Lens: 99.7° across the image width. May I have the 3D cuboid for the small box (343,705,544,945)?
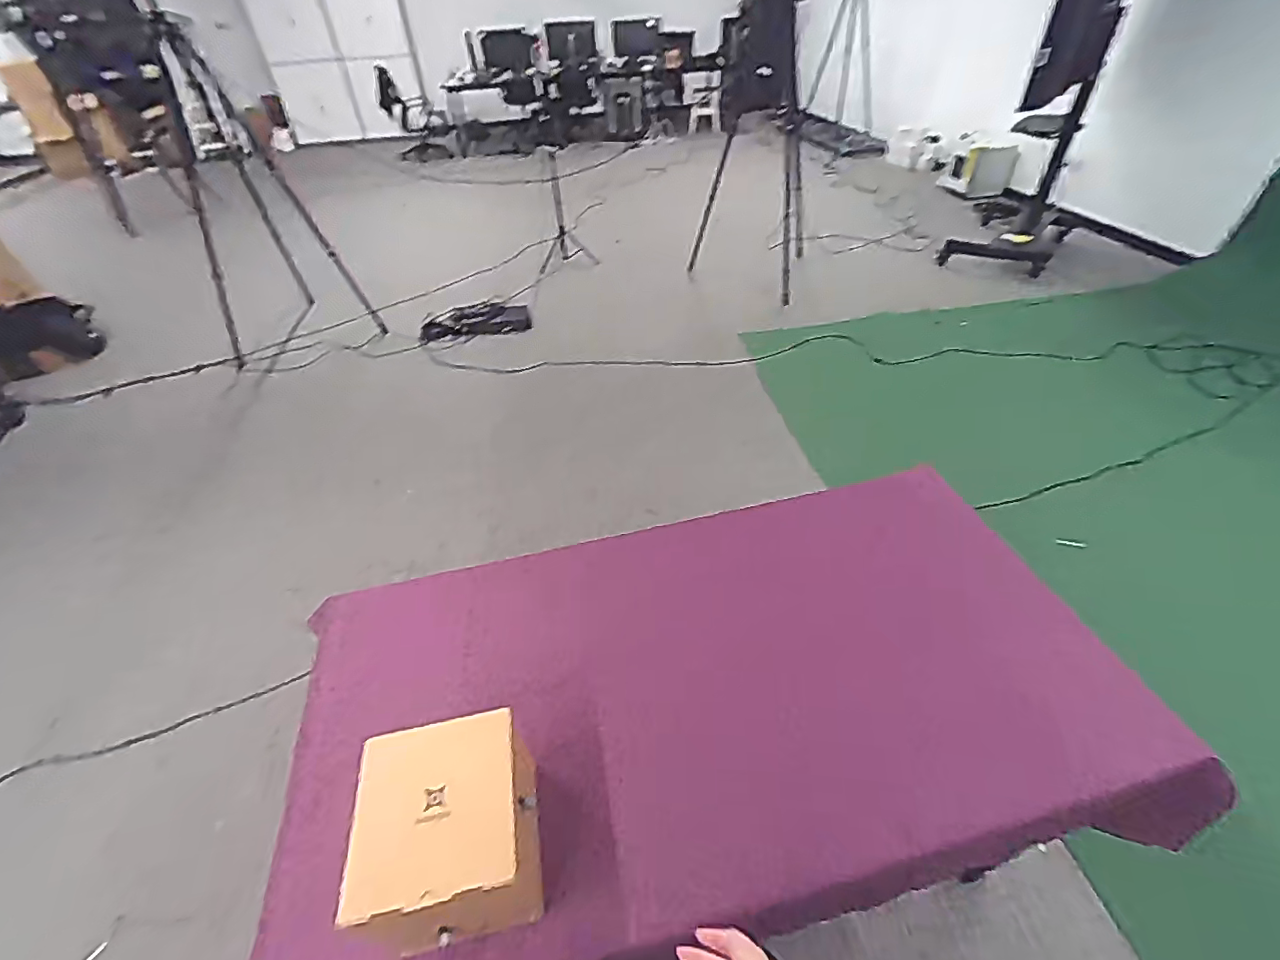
[{"bbox_3d":[-0.210,0.395,0.623,0.168,0.176,0.179,-11,44,-8],"label":"small box"}]
